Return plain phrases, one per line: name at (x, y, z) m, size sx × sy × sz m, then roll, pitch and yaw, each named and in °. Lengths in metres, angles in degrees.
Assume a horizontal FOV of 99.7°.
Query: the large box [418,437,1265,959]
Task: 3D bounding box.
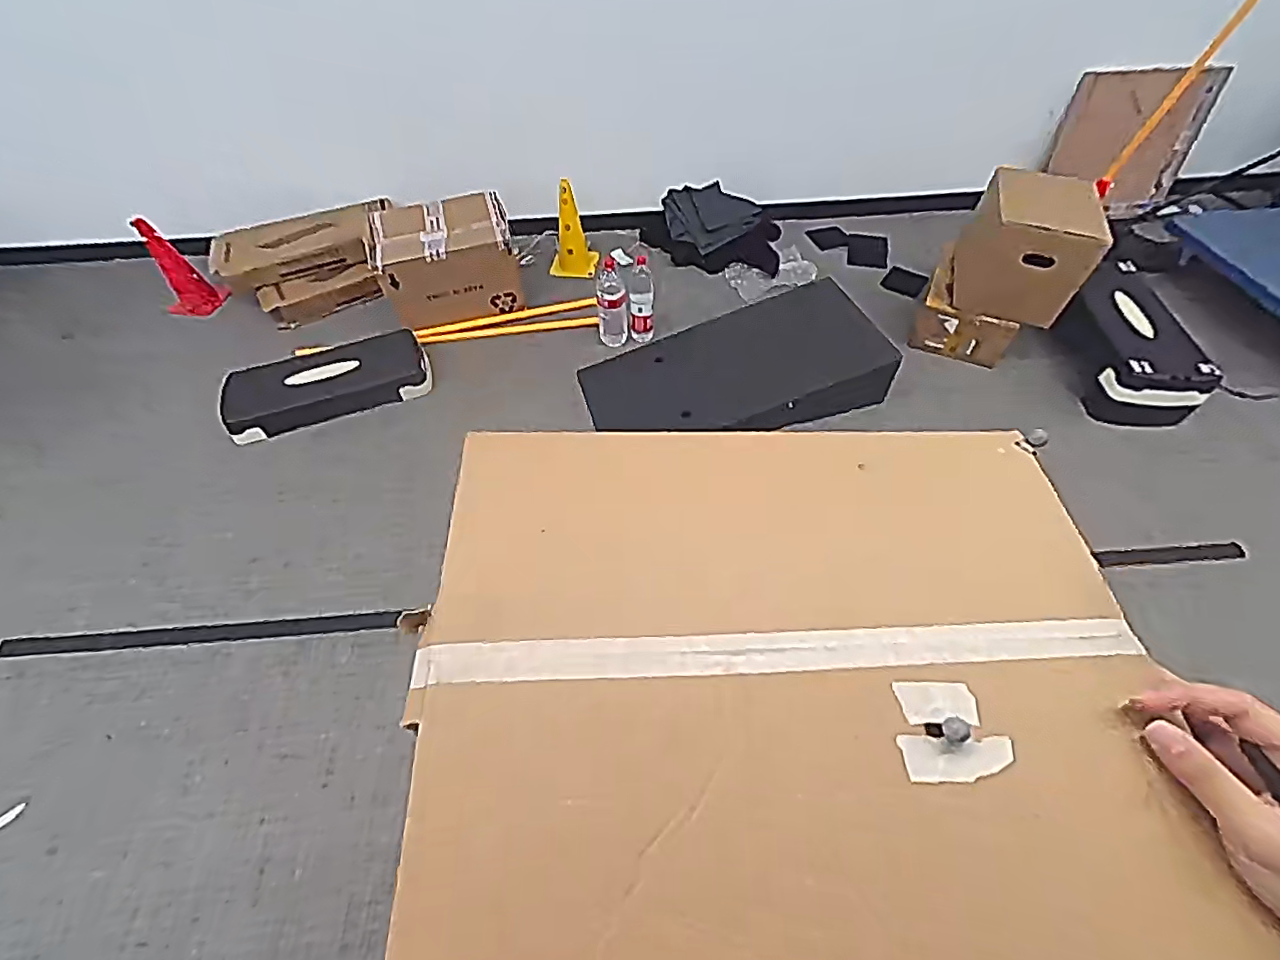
large box at (0.080, 0.178, 0.441) m, size 0.408 × 0.320 × 0.320 m, roll 0°, pitch 57°, yaw -6°
